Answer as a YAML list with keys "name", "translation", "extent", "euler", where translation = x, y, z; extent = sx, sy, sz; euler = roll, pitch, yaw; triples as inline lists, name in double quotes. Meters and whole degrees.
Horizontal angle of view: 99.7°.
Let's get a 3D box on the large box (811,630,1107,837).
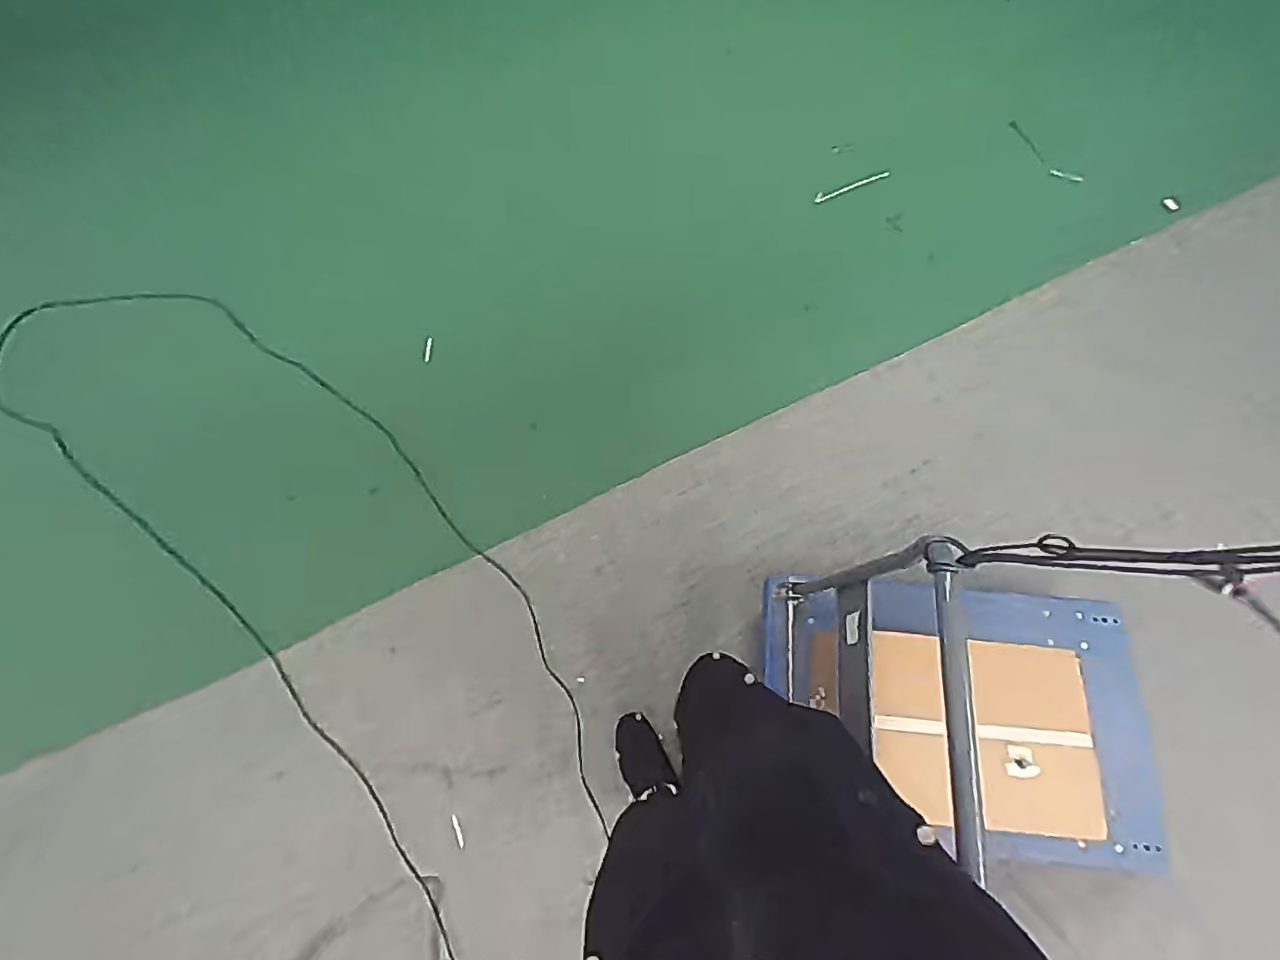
- name: "large box"
  translation: [0.595, 0.488, 1.094]
  extent: [0.408, 0.320, 0.320]
  euler: [6, 72, 0]
